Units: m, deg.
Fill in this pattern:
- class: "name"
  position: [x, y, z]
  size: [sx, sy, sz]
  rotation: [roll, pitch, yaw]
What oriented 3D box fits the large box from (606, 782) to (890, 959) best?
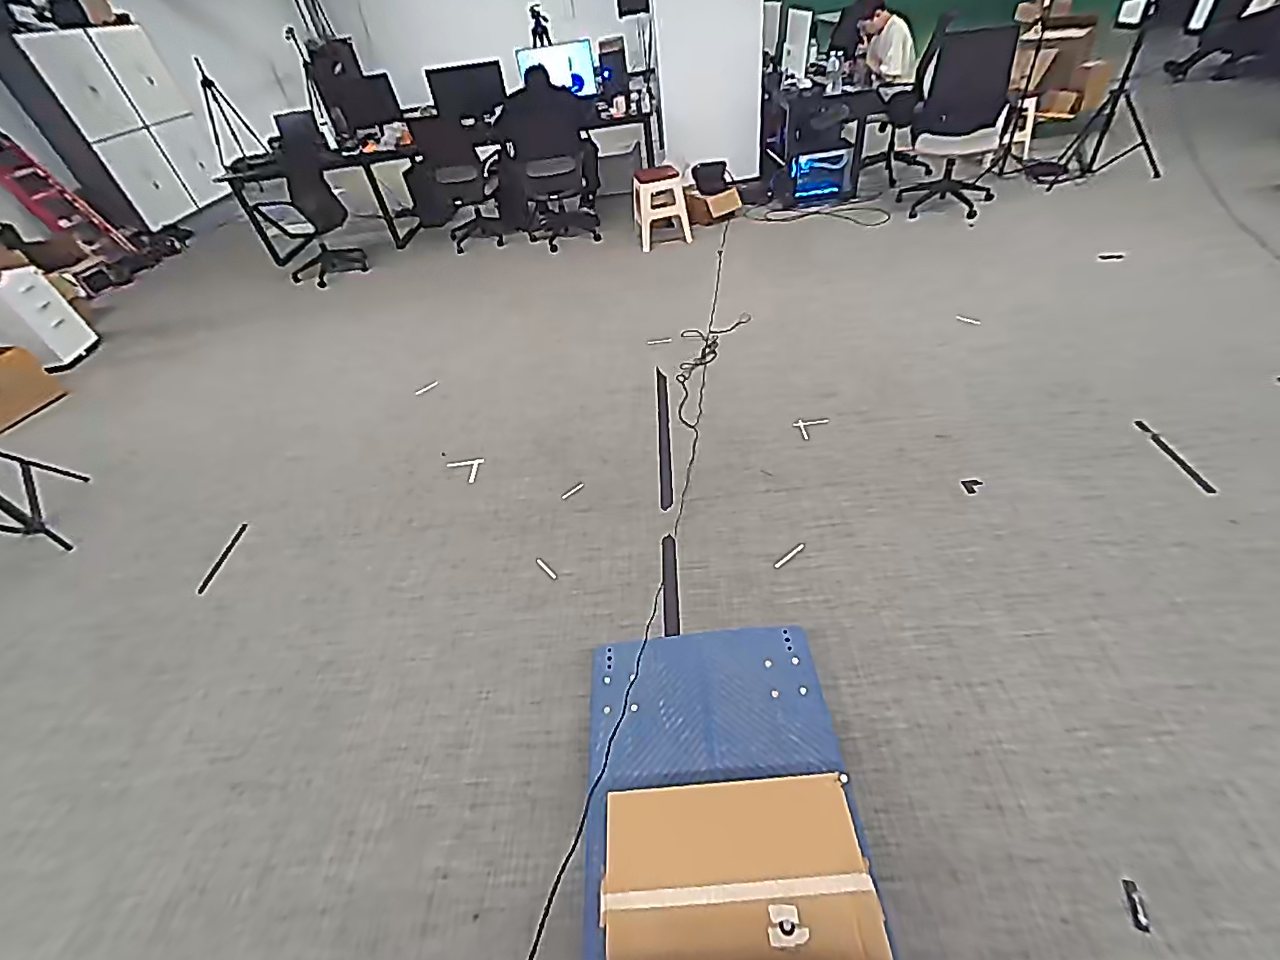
- class: "large box"
  position: [0.162, 0.748, 0.907]
  size: [0.408, 0.320, 0.320]
  rotation: [-7, 42, 3]
